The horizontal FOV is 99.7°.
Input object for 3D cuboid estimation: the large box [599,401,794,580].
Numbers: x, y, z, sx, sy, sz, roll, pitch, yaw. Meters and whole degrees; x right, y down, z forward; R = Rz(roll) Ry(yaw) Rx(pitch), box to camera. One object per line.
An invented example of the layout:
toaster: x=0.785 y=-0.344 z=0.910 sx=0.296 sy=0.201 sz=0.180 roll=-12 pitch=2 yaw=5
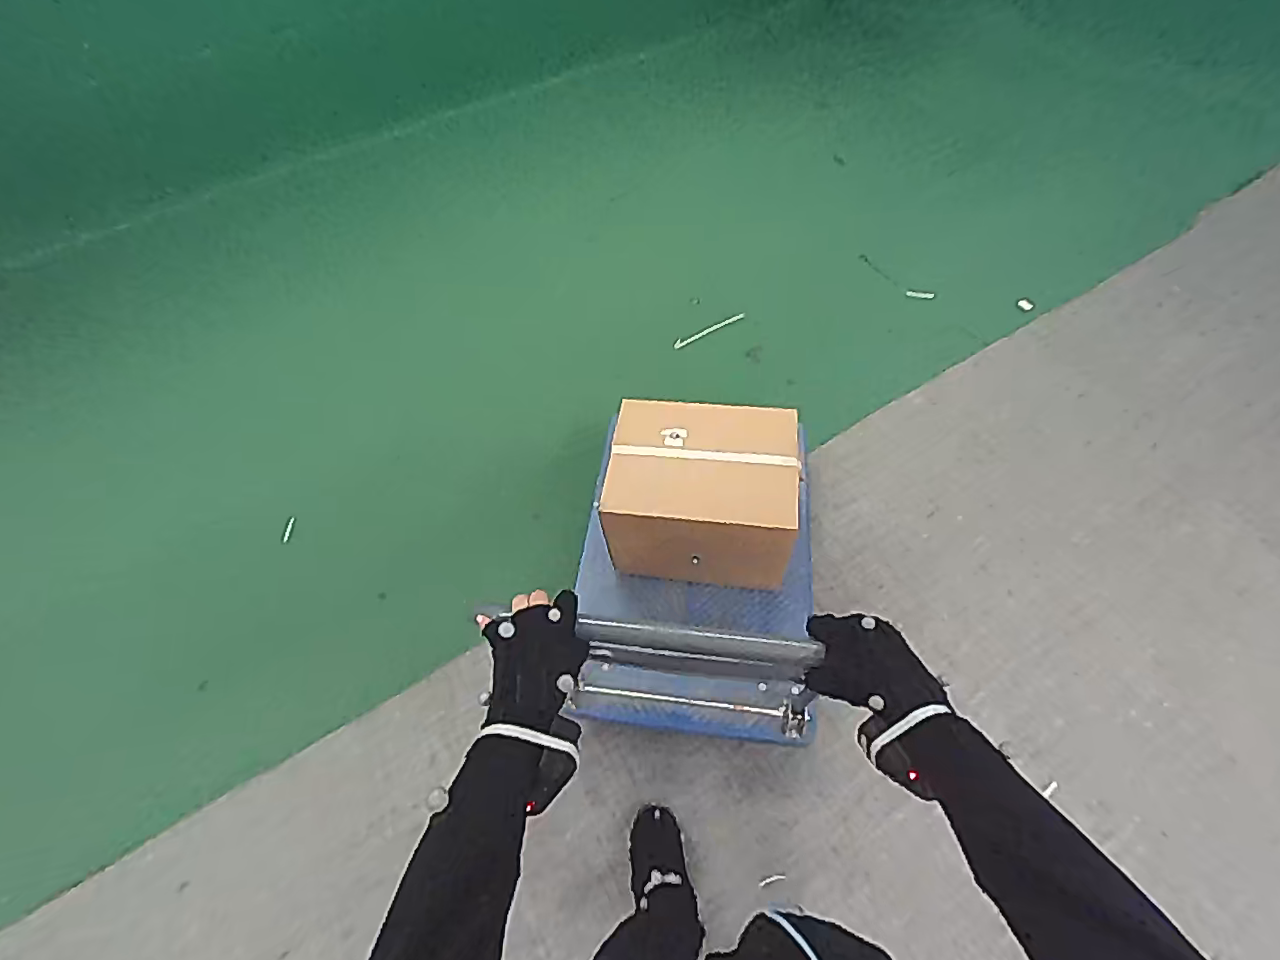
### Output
large box: x=0.145 y=0.029 z=1.301 sx=0.408 sy=0.320 sz=0.320 roll=4 pitch=56 yaw=10
